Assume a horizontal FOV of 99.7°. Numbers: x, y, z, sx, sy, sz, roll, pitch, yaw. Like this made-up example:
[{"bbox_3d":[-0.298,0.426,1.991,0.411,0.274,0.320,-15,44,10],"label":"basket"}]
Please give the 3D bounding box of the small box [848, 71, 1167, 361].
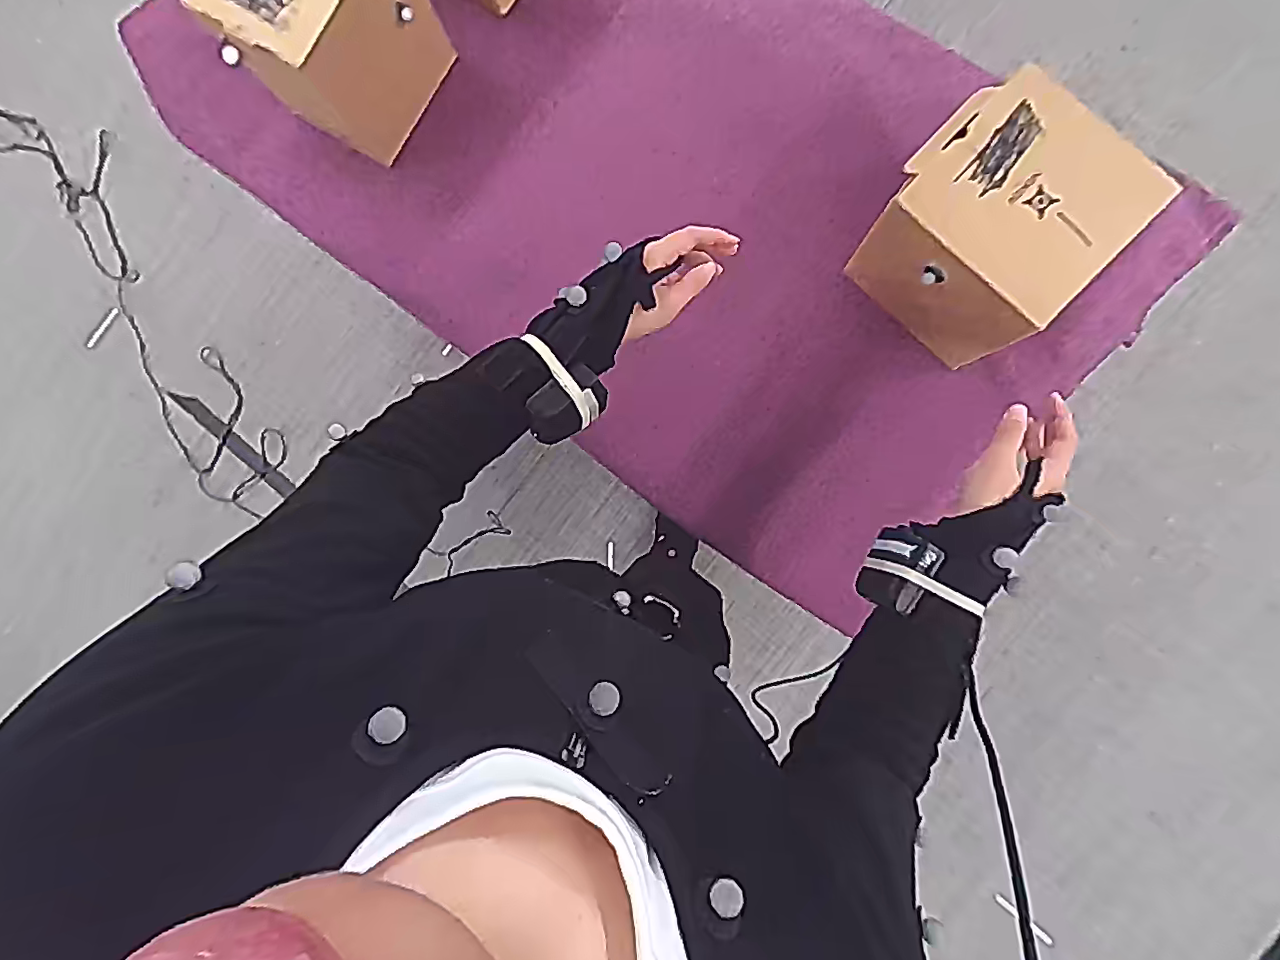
[{"bbox_3d":[0.349,-0.249,0.559,0.179,0.176,0.168,44,94,4],"label":"small box"}]
